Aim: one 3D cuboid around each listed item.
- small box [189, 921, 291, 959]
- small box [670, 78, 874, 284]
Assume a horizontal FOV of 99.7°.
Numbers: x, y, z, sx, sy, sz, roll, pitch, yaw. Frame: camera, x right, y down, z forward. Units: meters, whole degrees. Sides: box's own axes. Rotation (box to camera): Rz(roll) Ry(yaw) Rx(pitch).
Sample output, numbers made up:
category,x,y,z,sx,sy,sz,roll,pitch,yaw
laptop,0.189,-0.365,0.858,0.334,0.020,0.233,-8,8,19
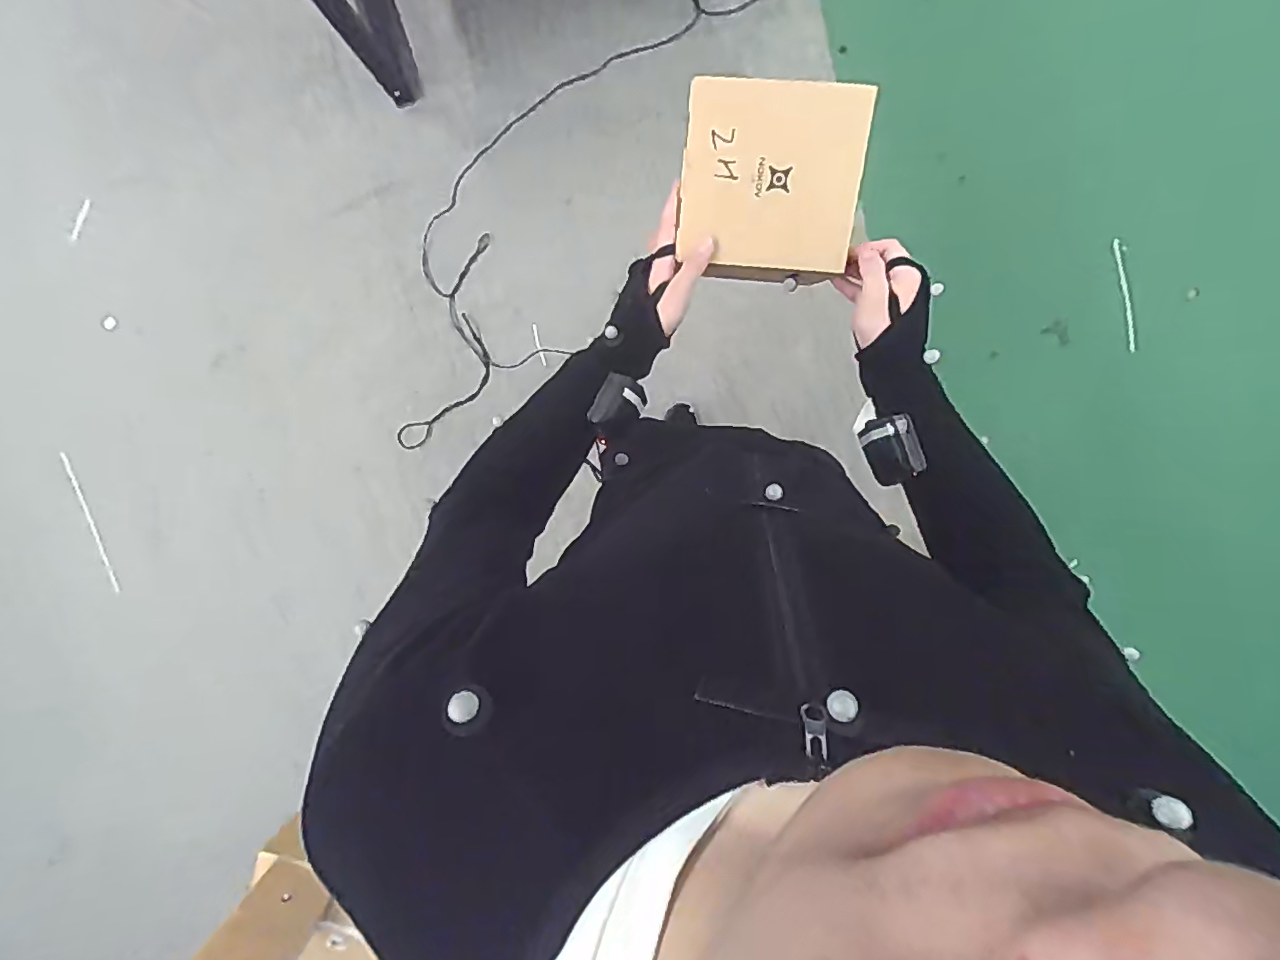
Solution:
category,x,y,z,sx,sy,sz,roll,pitch,yaw
small box,-0.943,1.155,1.220,0.179,0.176,0.168,20,96,-2
small box,0.130,-0.313,0.600,0.179,0.176,0.168,6,107,4
